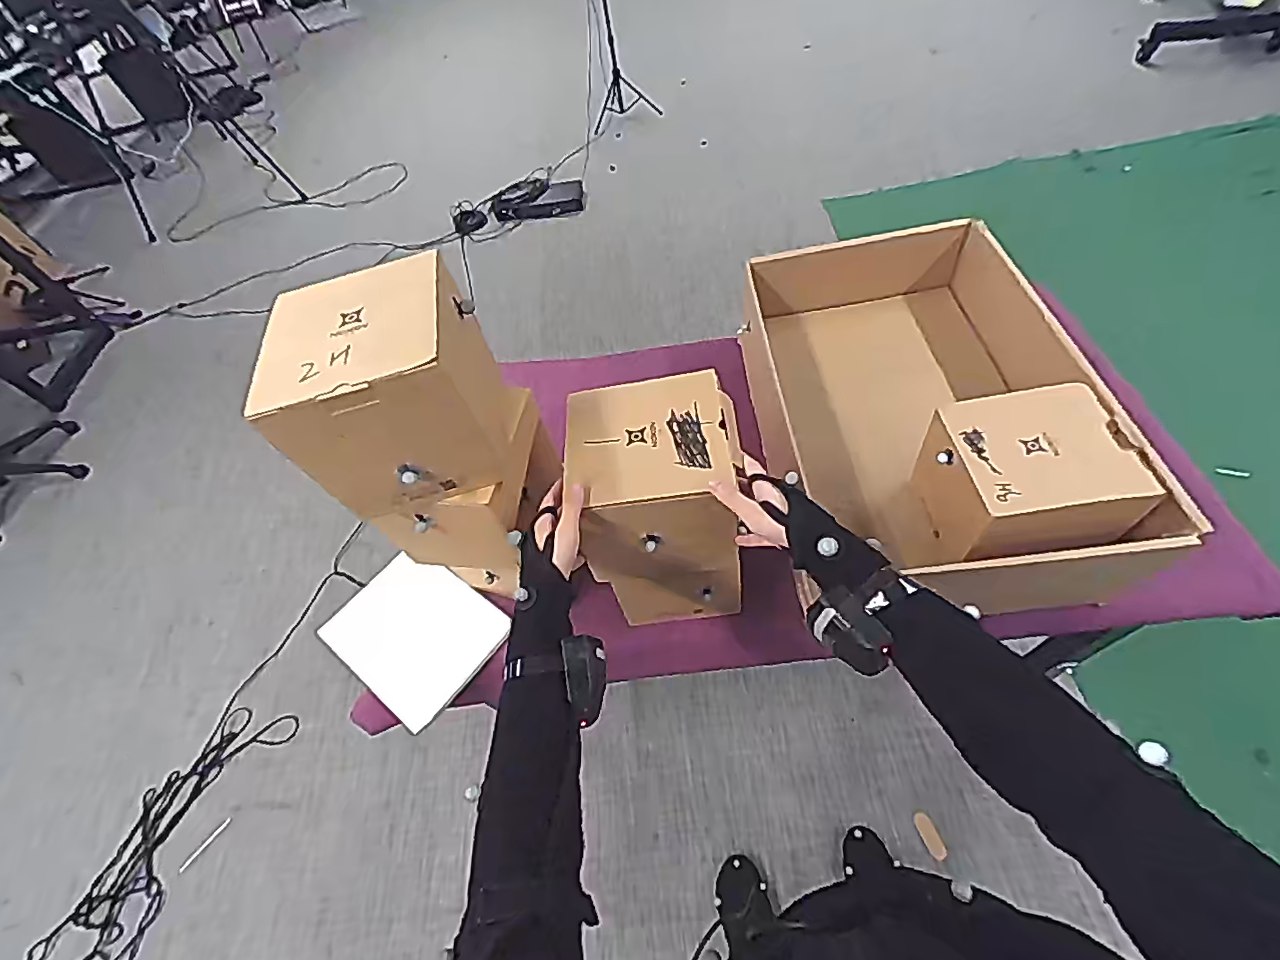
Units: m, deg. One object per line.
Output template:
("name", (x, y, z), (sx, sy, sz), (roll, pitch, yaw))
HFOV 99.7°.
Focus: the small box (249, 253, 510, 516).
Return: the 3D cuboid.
("small box", (-0.242, -0.092, 0.550), (0.168, 0.176, 0.179), (-16, 54, 1))
